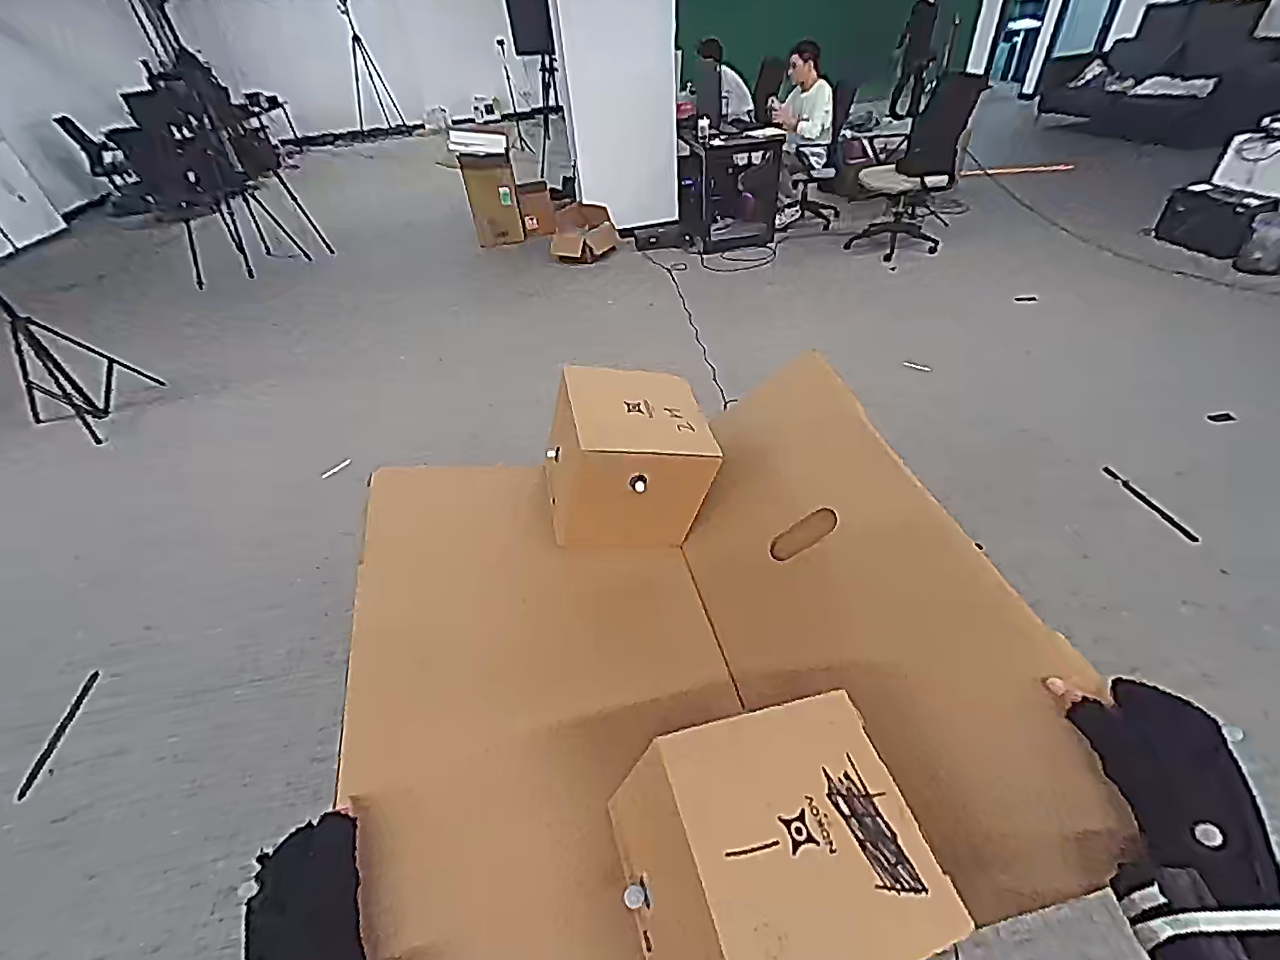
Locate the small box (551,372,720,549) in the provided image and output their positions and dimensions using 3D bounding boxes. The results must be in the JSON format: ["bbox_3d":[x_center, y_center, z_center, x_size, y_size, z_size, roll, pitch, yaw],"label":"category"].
[{"bbox_3d":[-0.020,-0.021,0.719,0.179,0.176,0.168,2,45,-19],"label":"small box"}]
